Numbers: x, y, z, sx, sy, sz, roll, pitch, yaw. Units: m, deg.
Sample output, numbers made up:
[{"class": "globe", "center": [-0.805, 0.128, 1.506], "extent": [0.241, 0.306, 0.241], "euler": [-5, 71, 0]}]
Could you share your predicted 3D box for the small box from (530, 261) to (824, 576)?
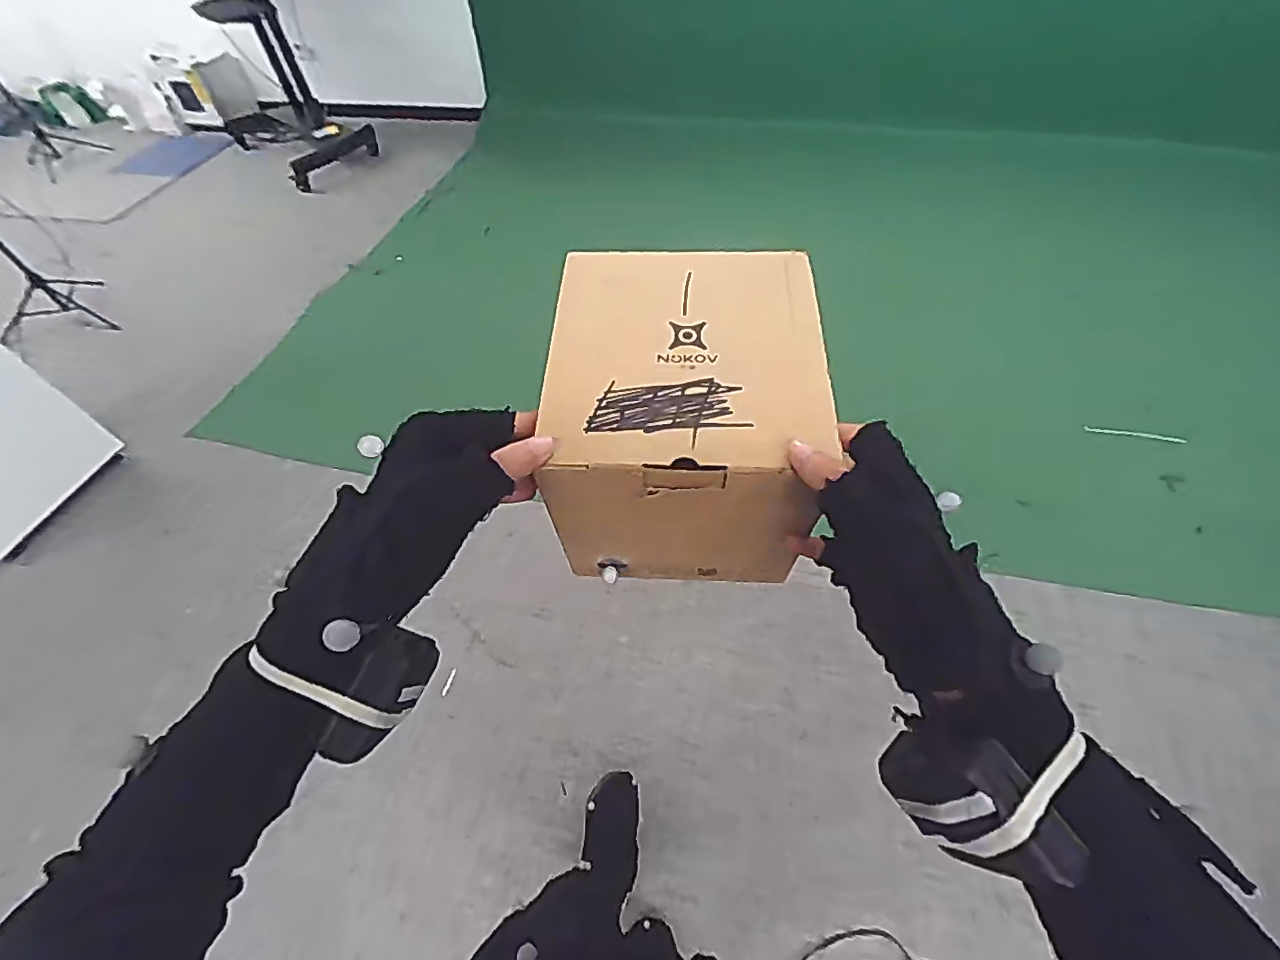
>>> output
[{"class": "small box", "center": [0.028, -0.037, 0.404], "extent": [0.168, 0.176, 0.179], "euler": [2, 59, 4]}]
